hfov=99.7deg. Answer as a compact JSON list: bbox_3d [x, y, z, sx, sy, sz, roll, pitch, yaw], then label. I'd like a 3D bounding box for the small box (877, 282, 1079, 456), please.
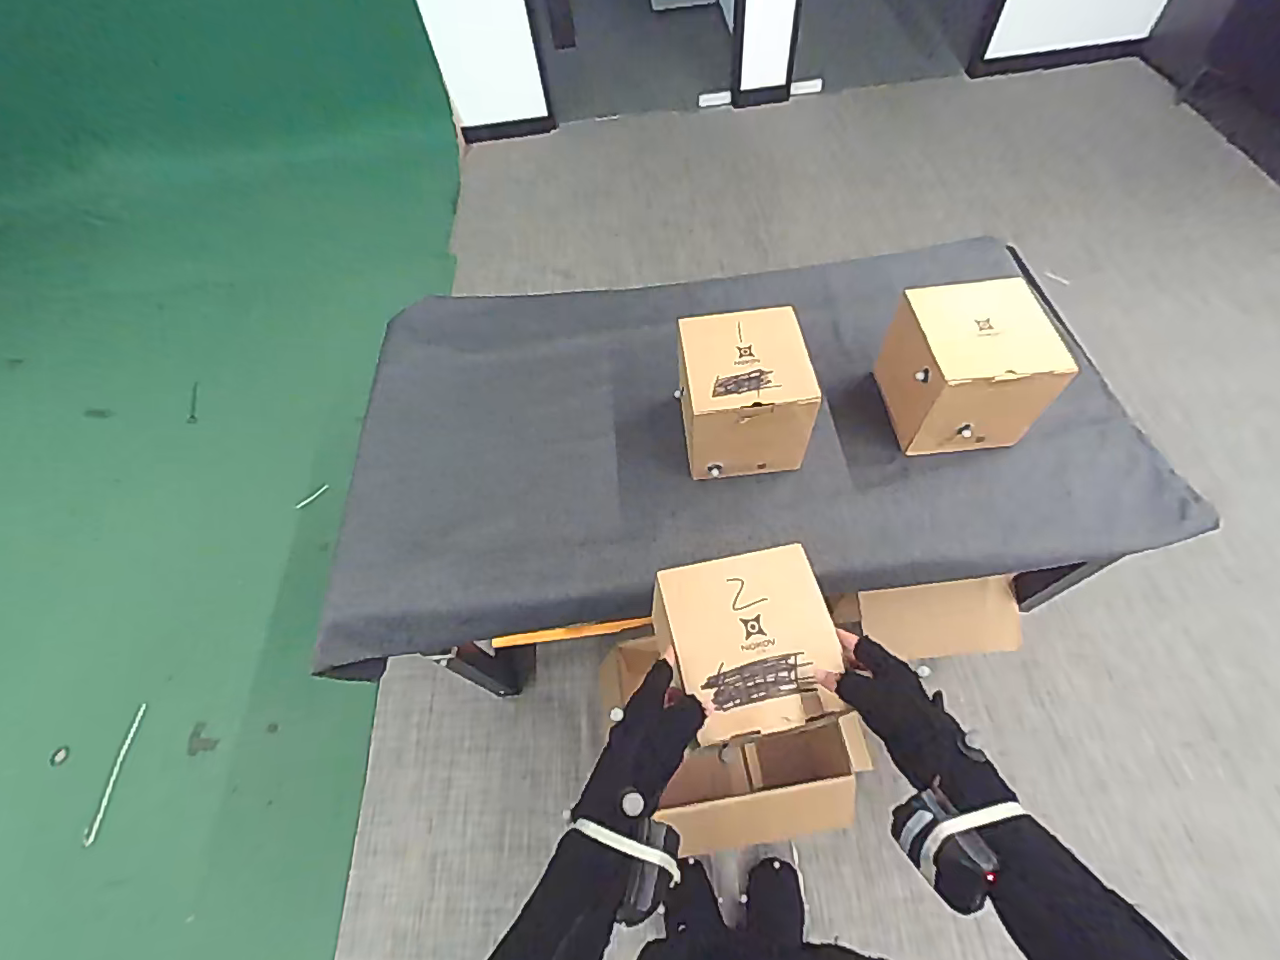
[{"bbox_3d":[0.469,-0.157,0.787,0.168,0.176,0.179,-6,59,3],"label":"small box"}]

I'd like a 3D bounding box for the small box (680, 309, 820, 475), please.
[{"bbox_3d":[0.151,-0.119,0.794,0.168,0.176,0.179,-6,58,2],"label":"small box"}]
